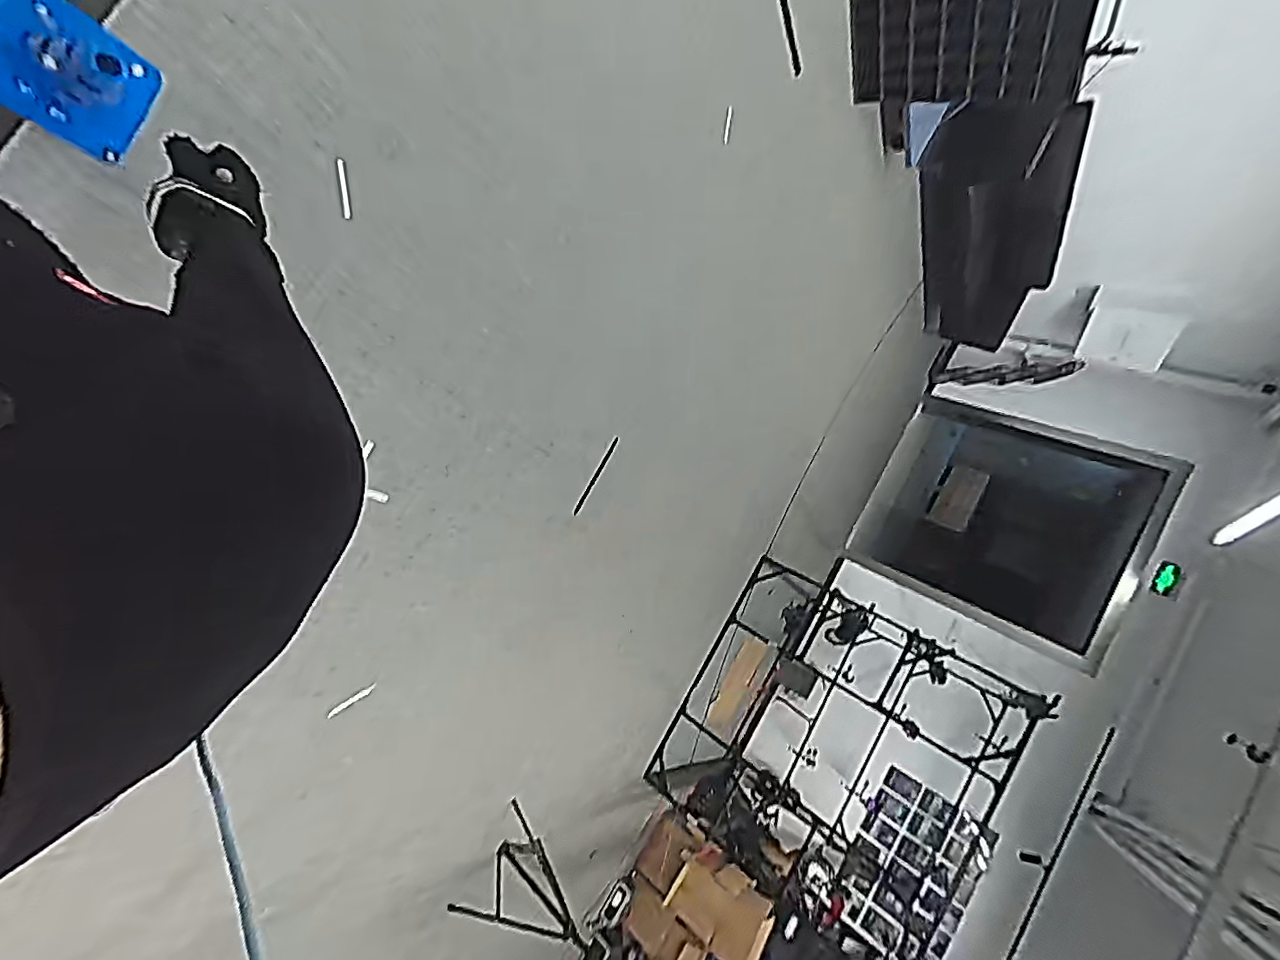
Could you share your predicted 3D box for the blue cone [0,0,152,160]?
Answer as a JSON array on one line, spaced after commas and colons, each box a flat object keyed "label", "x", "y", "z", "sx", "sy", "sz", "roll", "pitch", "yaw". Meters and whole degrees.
[{"label": "blue cone", "x": -0.844, "y": -0.620, "z": 0.822, "sx": 0.193, "sy": 0.380, "sz": 0.192, "roll": -62, "pitch": 148, "yaw": -3}]
